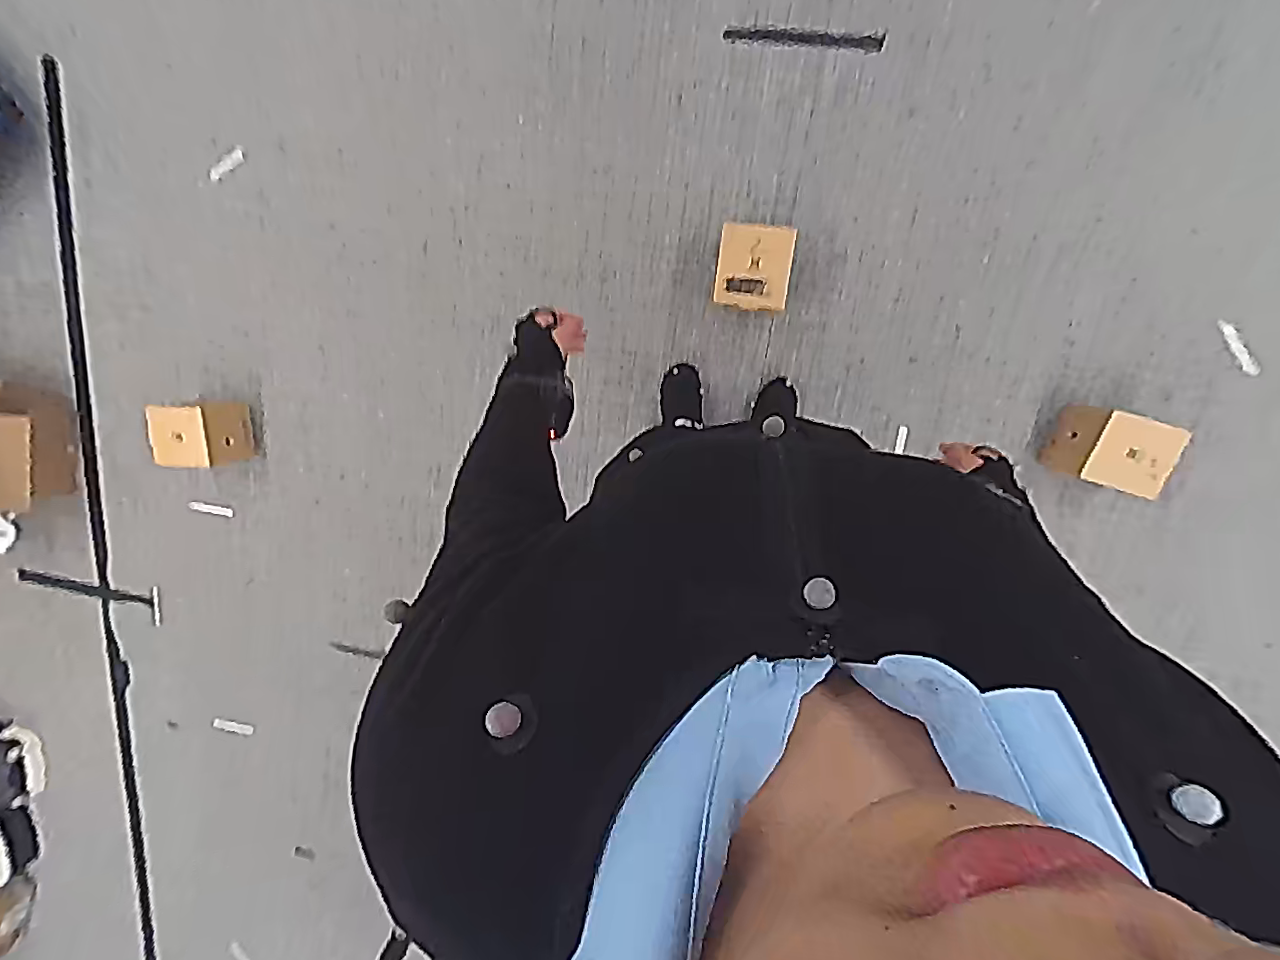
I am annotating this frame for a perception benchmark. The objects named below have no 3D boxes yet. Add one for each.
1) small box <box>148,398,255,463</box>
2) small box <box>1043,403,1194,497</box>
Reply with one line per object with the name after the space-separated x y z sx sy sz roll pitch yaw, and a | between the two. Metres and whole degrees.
-1.262 -0.149 1.574 0.179 0.176 0.168 3 104 7 | small box
1.115 -0.079 1.280 0.179 0.176 0.168 18 106 3 | small box
